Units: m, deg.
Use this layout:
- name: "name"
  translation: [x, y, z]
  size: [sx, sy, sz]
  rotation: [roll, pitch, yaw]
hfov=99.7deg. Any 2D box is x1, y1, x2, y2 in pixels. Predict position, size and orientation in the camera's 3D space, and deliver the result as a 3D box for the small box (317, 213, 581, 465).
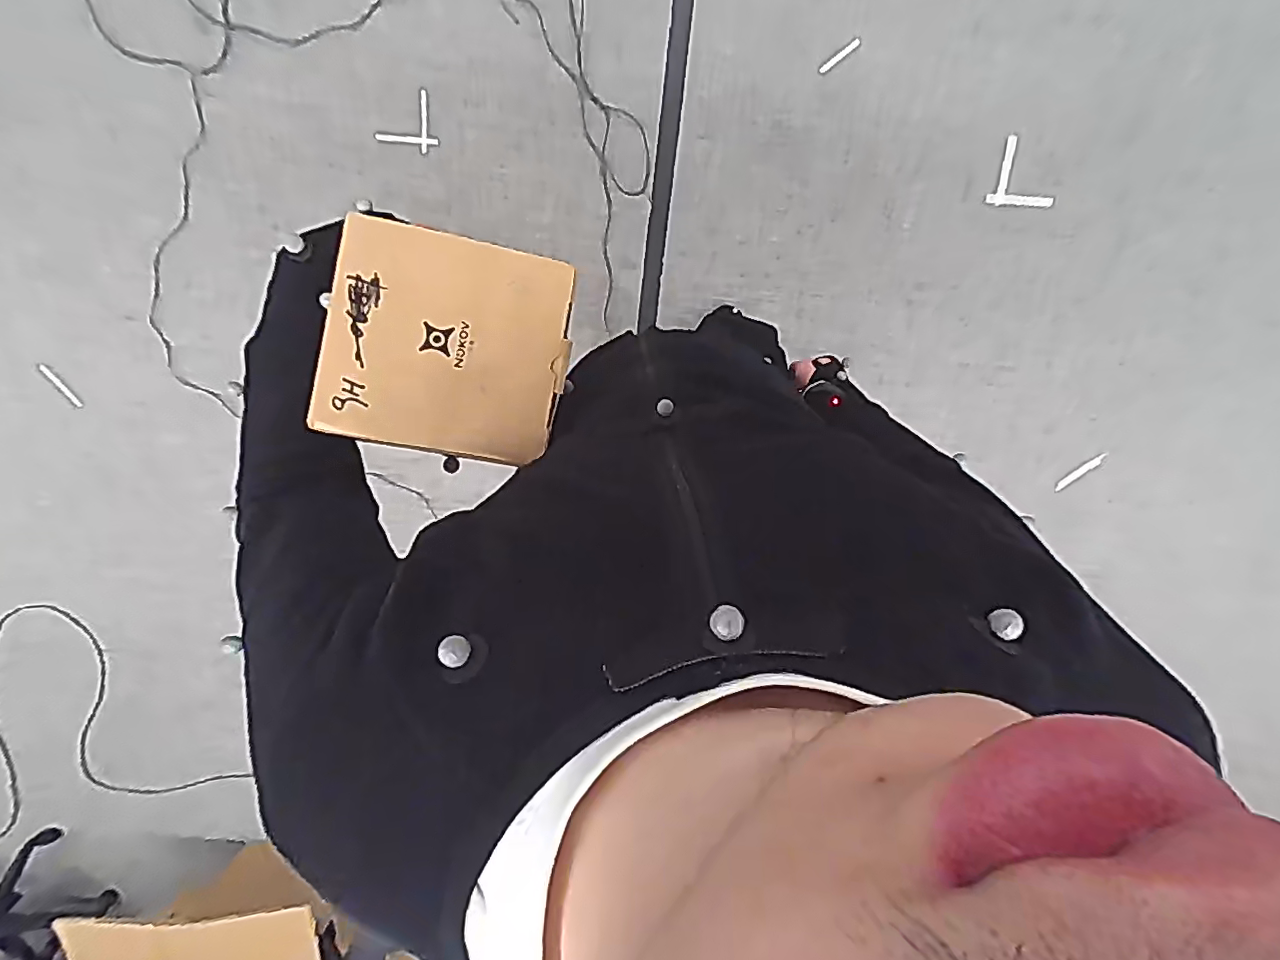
- name: "small box"
  translation: [-0.162, -0.108, 0.500]
  size: [0.179, 0.176, 0.168]
  rotation: [10, 88, -12]
